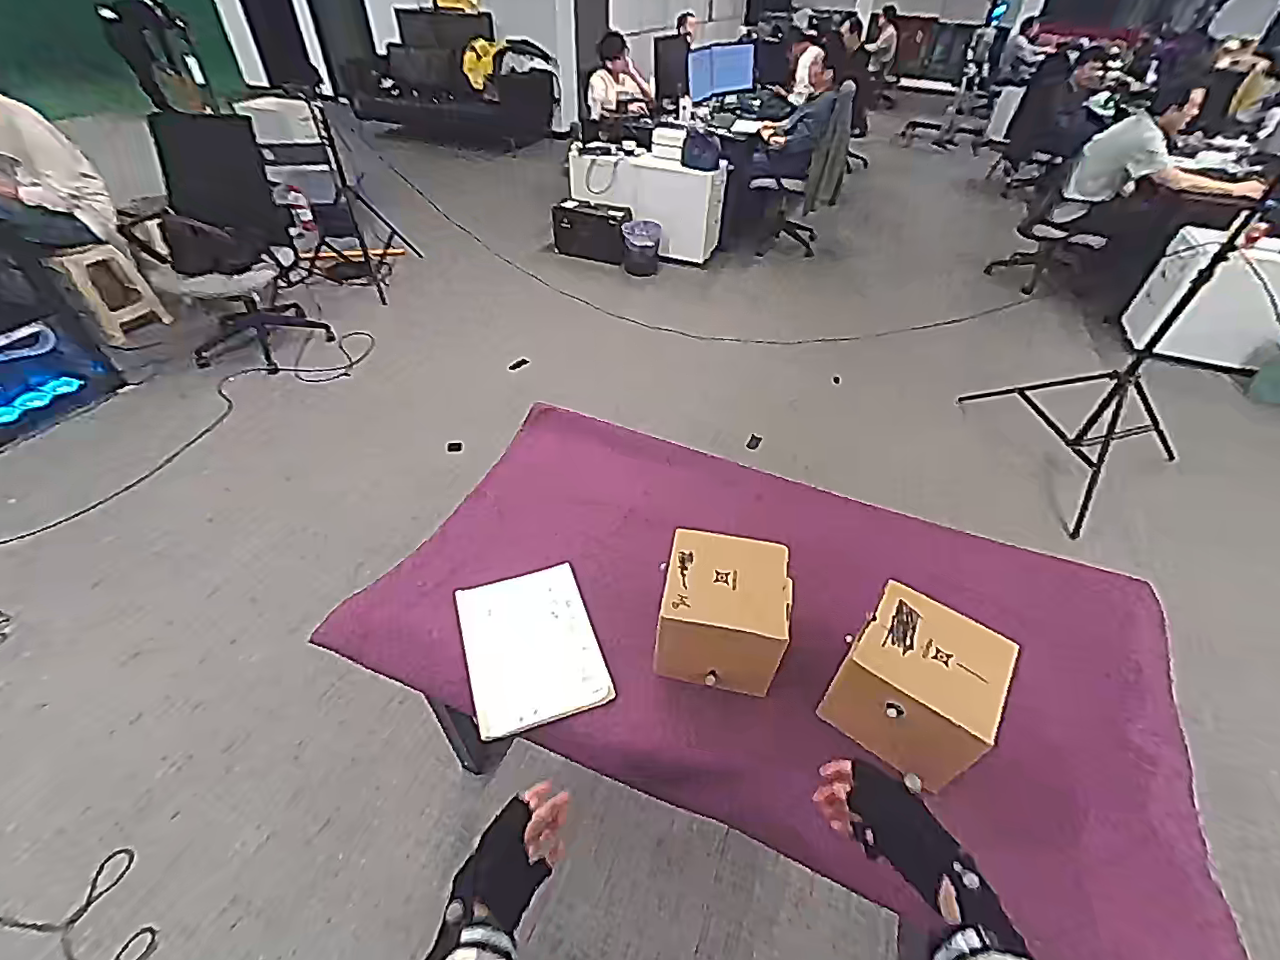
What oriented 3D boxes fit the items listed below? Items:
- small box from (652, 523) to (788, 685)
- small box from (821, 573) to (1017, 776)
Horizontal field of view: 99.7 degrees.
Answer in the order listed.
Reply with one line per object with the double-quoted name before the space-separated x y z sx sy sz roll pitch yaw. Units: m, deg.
"small box" 0.121 0.193 0.832 0.179 0.176 0.168 9 43 7
"small box" 0.378 0.272 0.757 0.179 0.176 0.168 29 49 25
